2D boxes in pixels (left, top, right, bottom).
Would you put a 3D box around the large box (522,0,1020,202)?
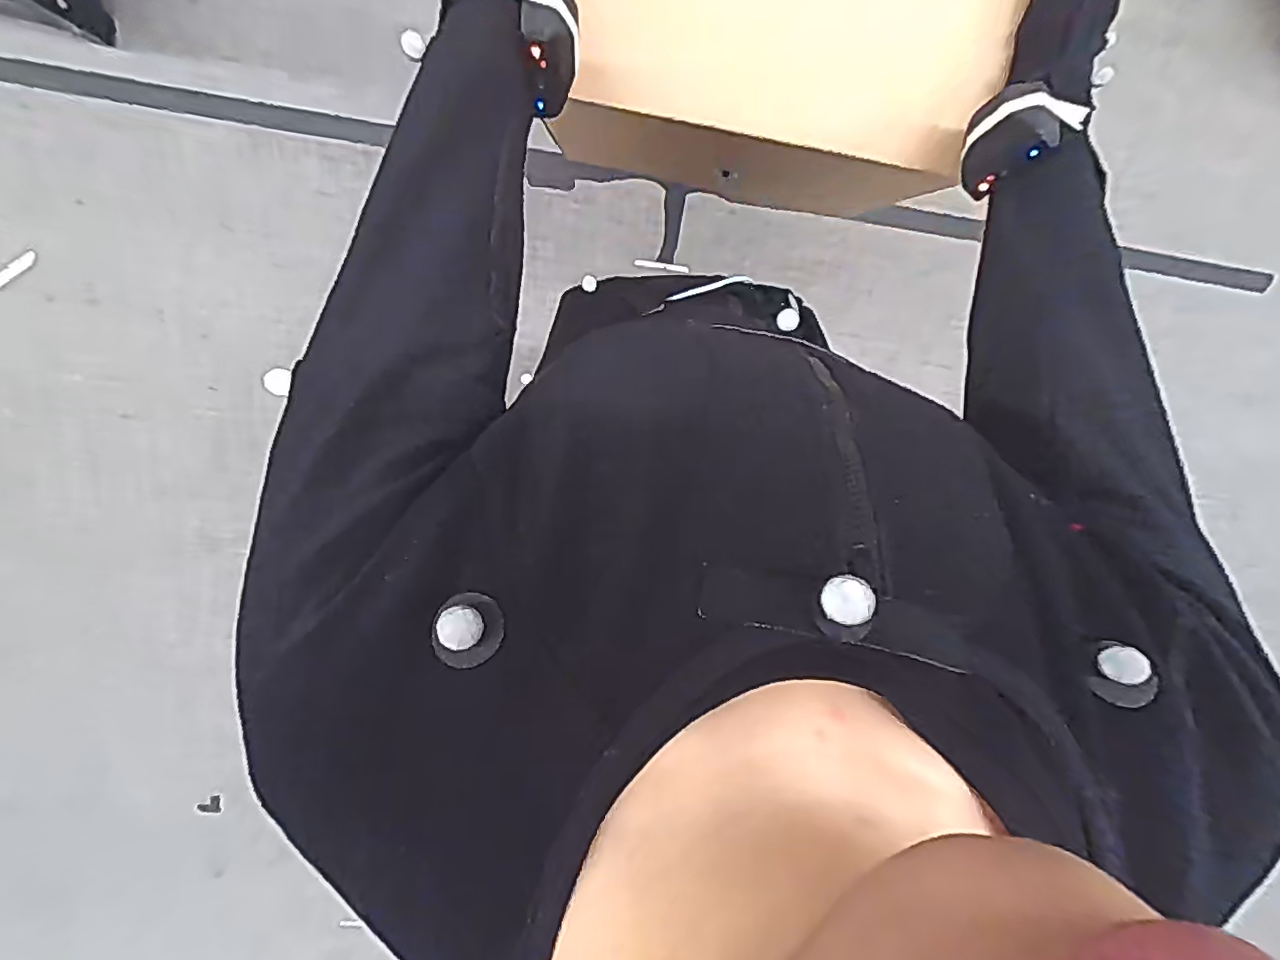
[{"bbox_3d":[0.122,-0.502,0.556,0.408,0.320,0.320,10,110,-3],"label":"large box"}]
